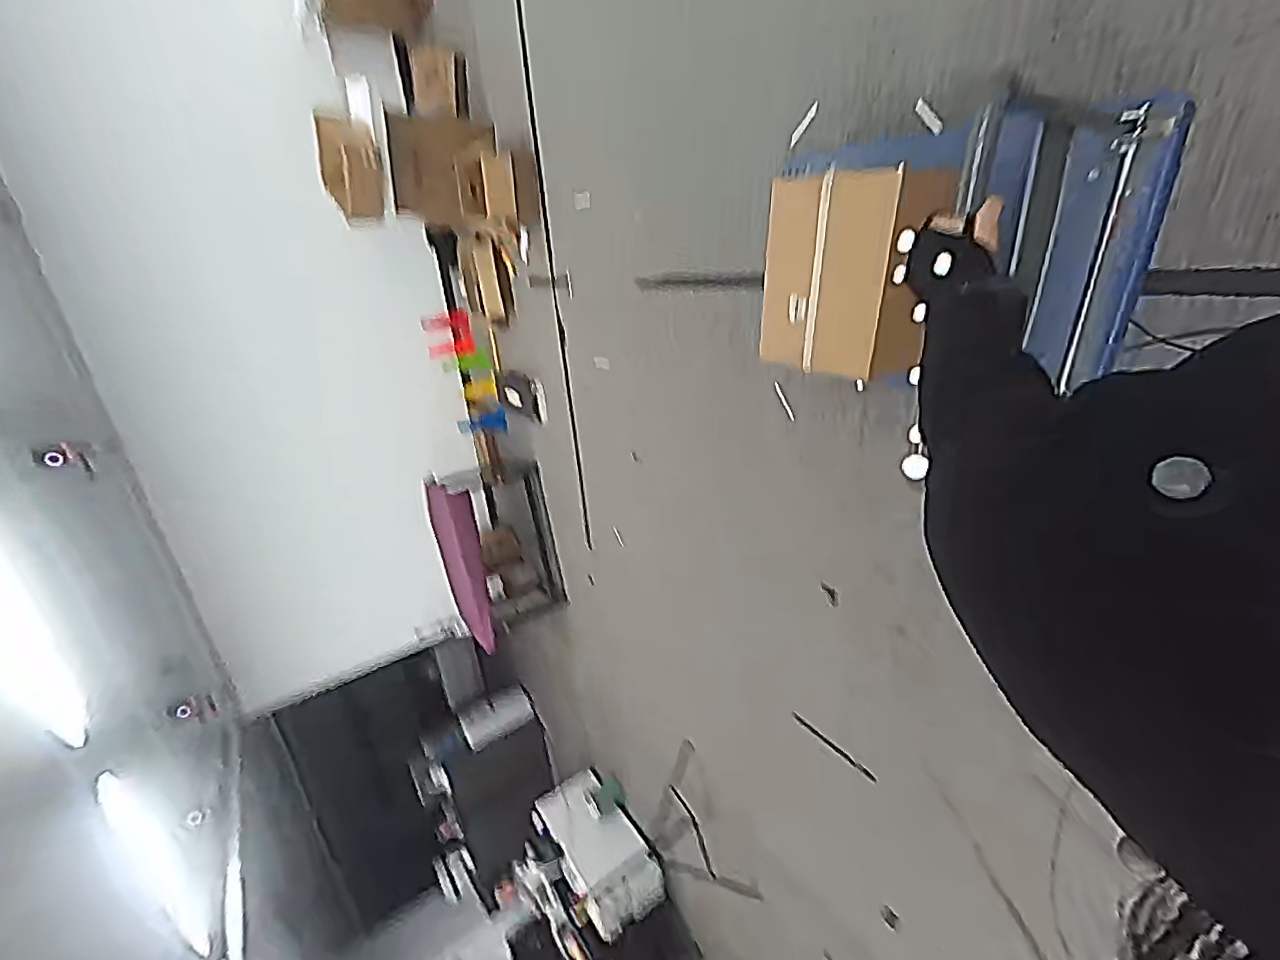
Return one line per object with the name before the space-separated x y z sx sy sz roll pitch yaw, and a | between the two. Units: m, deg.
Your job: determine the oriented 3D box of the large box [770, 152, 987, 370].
large box | 0.530 -0.507 1.245 0.320 0.320 0.408 32 132 47
